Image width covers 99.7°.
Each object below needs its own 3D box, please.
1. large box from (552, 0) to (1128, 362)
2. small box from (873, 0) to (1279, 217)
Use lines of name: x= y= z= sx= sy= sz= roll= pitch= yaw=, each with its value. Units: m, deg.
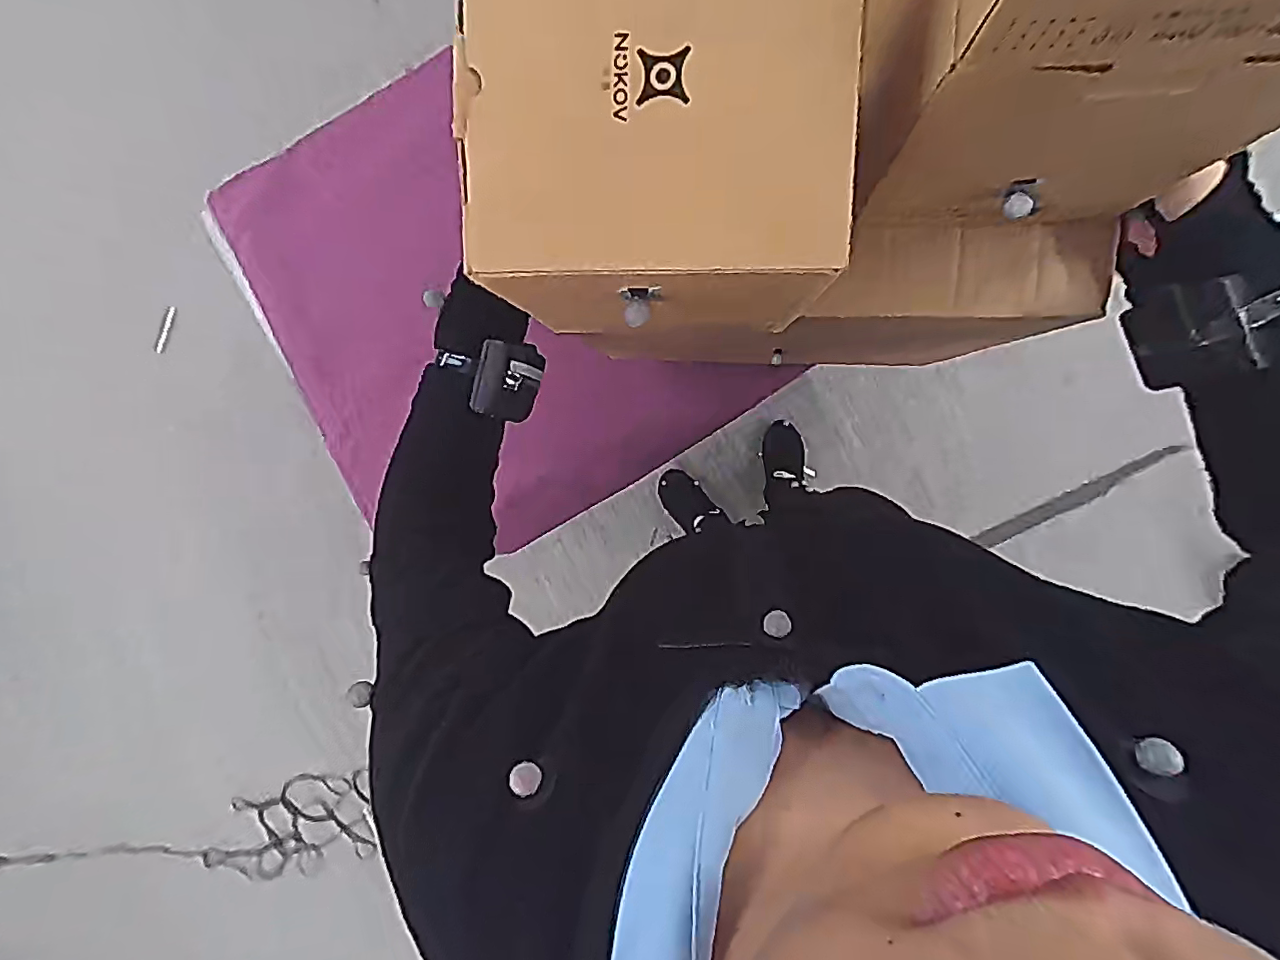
large box: x=0.153 y=-0.285 z=0.525 sx=0.408 sy=0.320 sz=0.320 roll=2 pitch=95 yaw=8
small box: x=0.229 y=-0.255 z=0.269 sx=0.168 sy=0.176 sz=0.179 roll=4 pitch=97 yaw=8
